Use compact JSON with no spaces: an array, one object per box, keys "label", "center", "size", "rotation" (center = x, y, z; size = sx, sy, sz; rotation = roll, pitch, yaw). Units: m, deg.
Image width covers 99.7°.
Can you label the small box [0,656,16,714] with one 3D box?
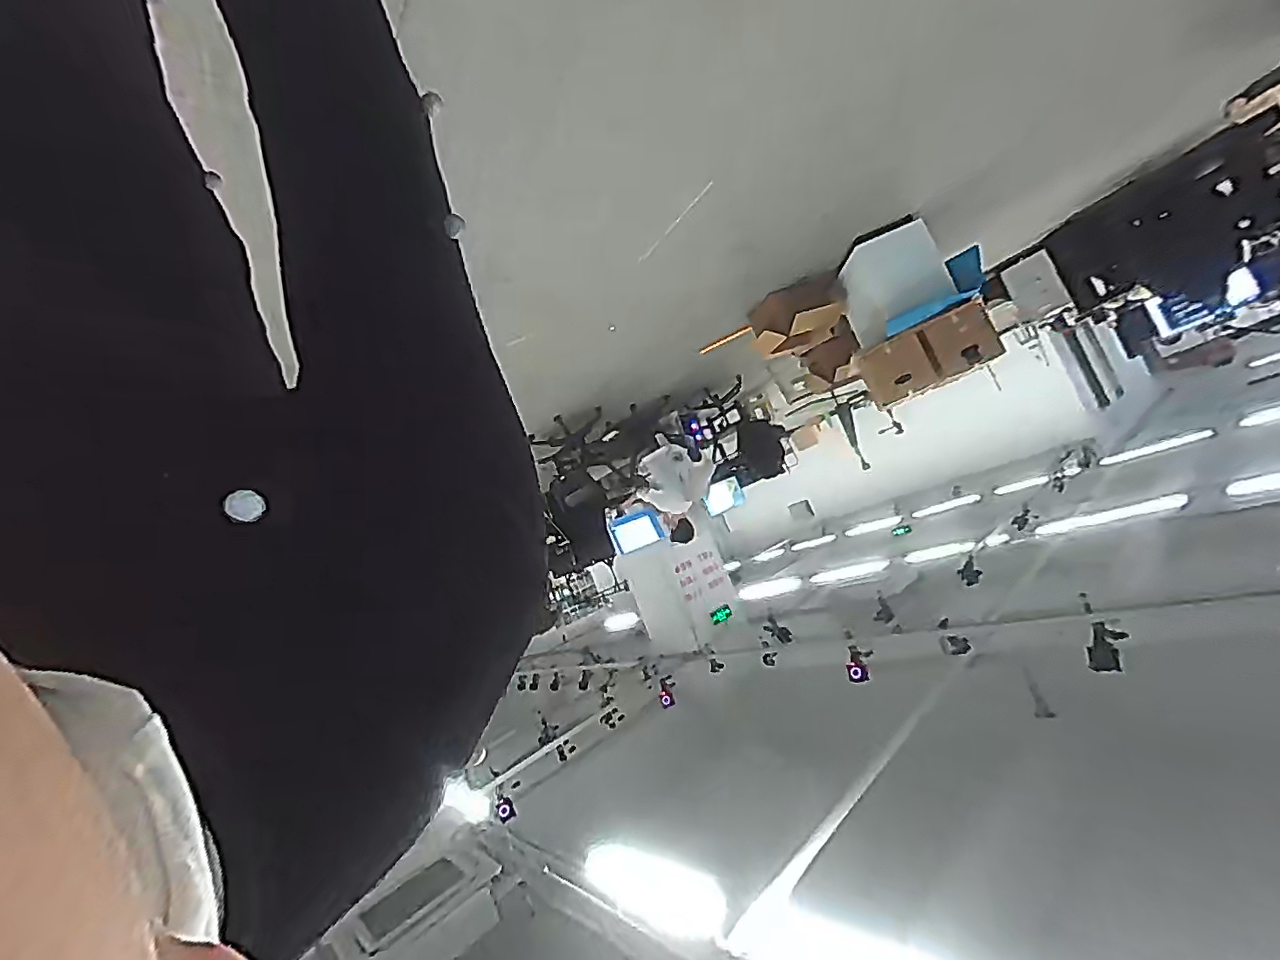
[{"label":"small box","center":[-1.828,0.571,1.444],"size":[0.168,0.176,0.179],"rotation":[-18,174,-41]}]

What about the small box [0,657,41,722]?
[{"label":"small box","center":[-1.981,0.652,1.642],"size":[0.168,0.176,0.179],"rotation":[-18,173,-39]}]
